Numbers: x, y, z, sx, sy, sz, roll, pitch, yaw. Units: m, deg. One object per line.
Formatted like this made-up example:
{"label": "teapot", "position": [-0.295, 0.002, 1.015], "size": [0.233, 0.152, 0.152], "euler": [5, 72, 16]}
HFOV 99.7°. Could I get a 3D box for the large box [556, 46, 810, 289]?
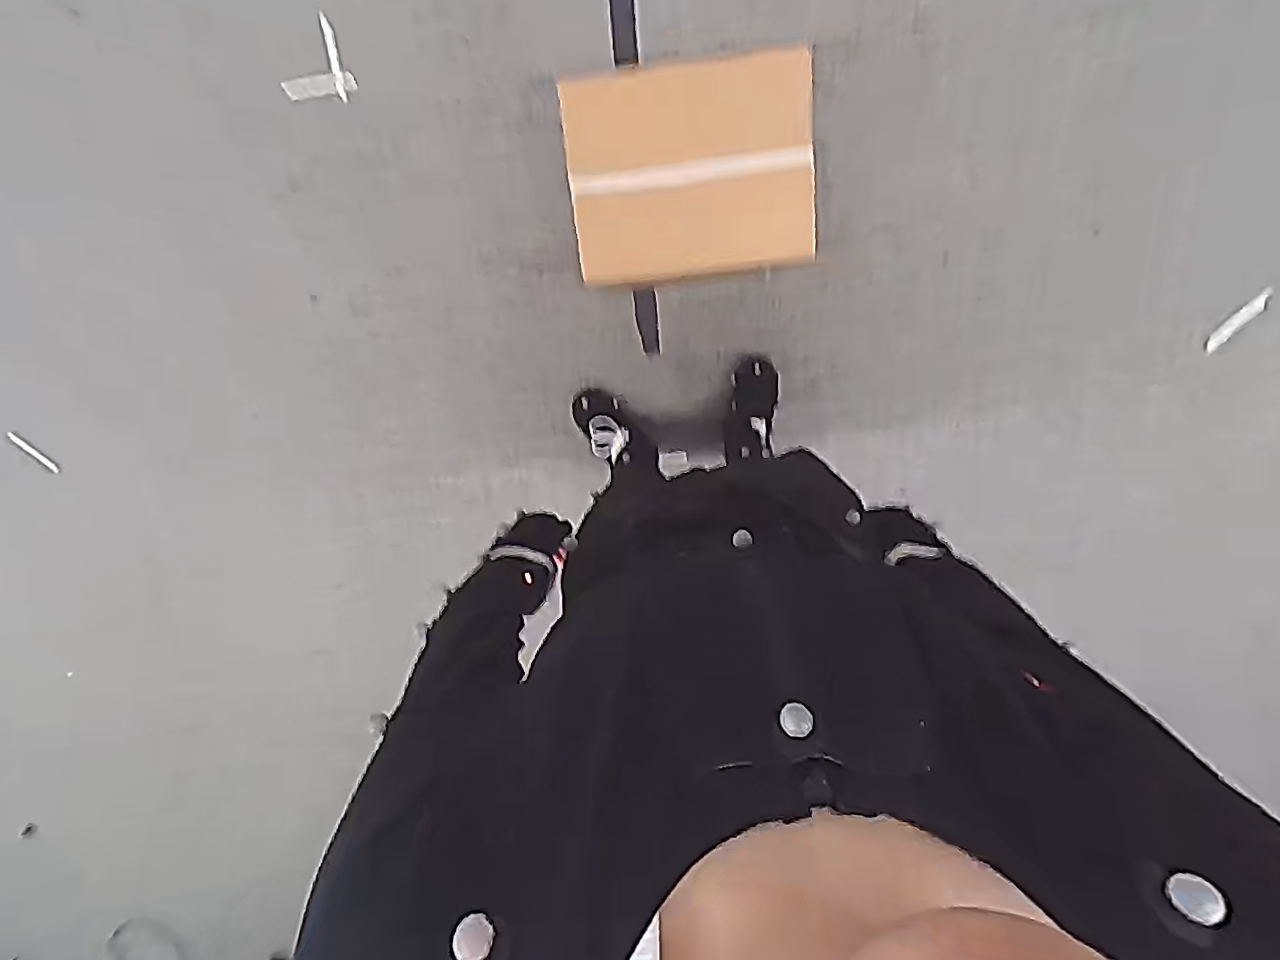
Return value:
{"label": "large box", "position": [0.084, -0.556, 1.039], "size": [0.408, 0.320, 0.320], "euler": [-6, 106, 3]}
